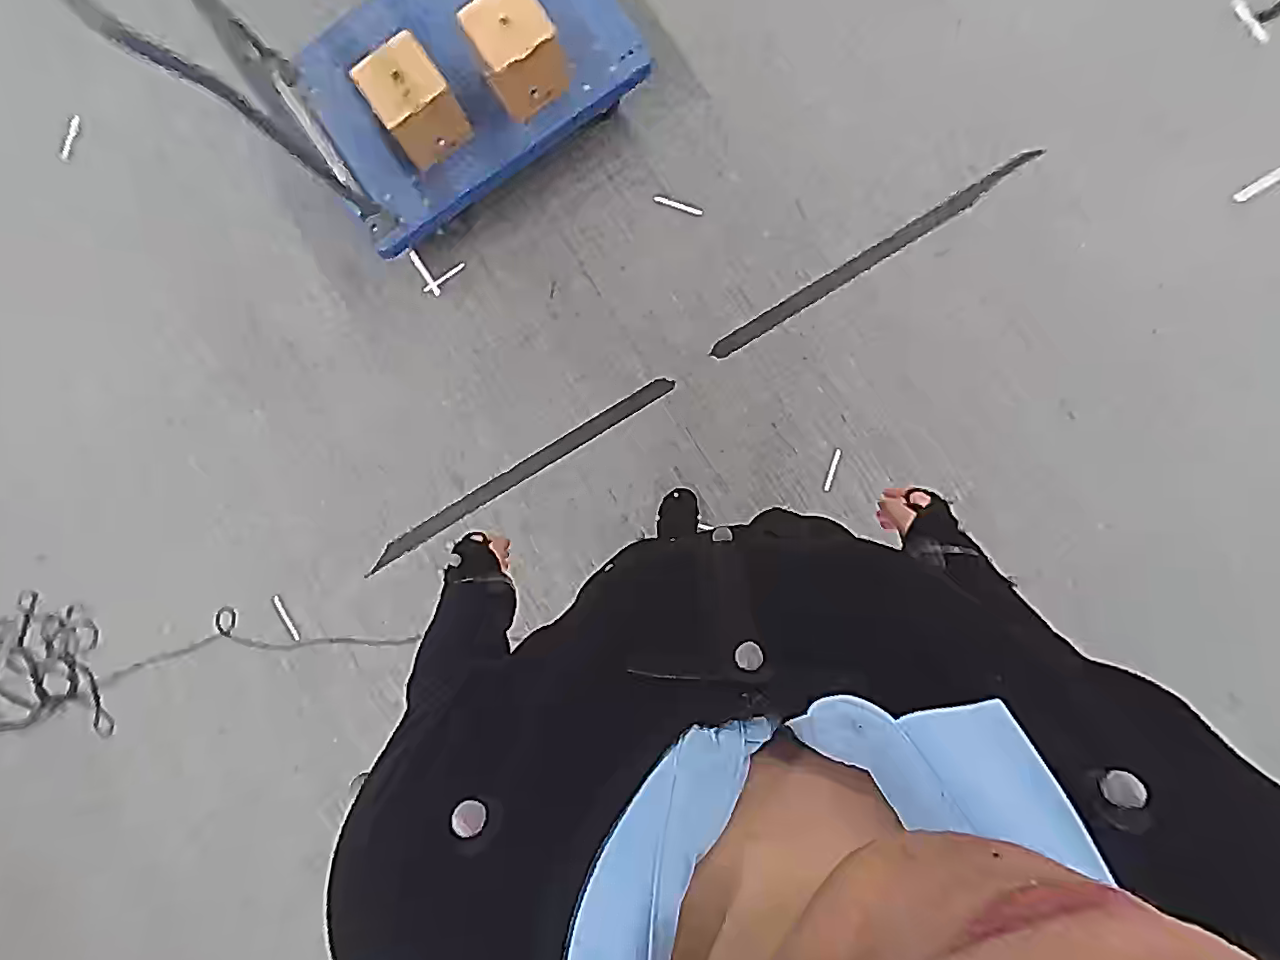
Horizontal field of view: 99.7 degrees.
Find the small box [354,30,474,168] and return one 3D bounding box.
[{"bbox_3d":[-0.535,-0.907,1.304,0.168,0.176,0.179,-34,87,3],"label":"small box"}]

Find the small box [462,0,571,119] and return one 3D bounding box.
[{"bbox_3d":[-0.288,-1.024,1.293,0.168,0.176,0.179,-34,87,2],"label":"small box"}]
